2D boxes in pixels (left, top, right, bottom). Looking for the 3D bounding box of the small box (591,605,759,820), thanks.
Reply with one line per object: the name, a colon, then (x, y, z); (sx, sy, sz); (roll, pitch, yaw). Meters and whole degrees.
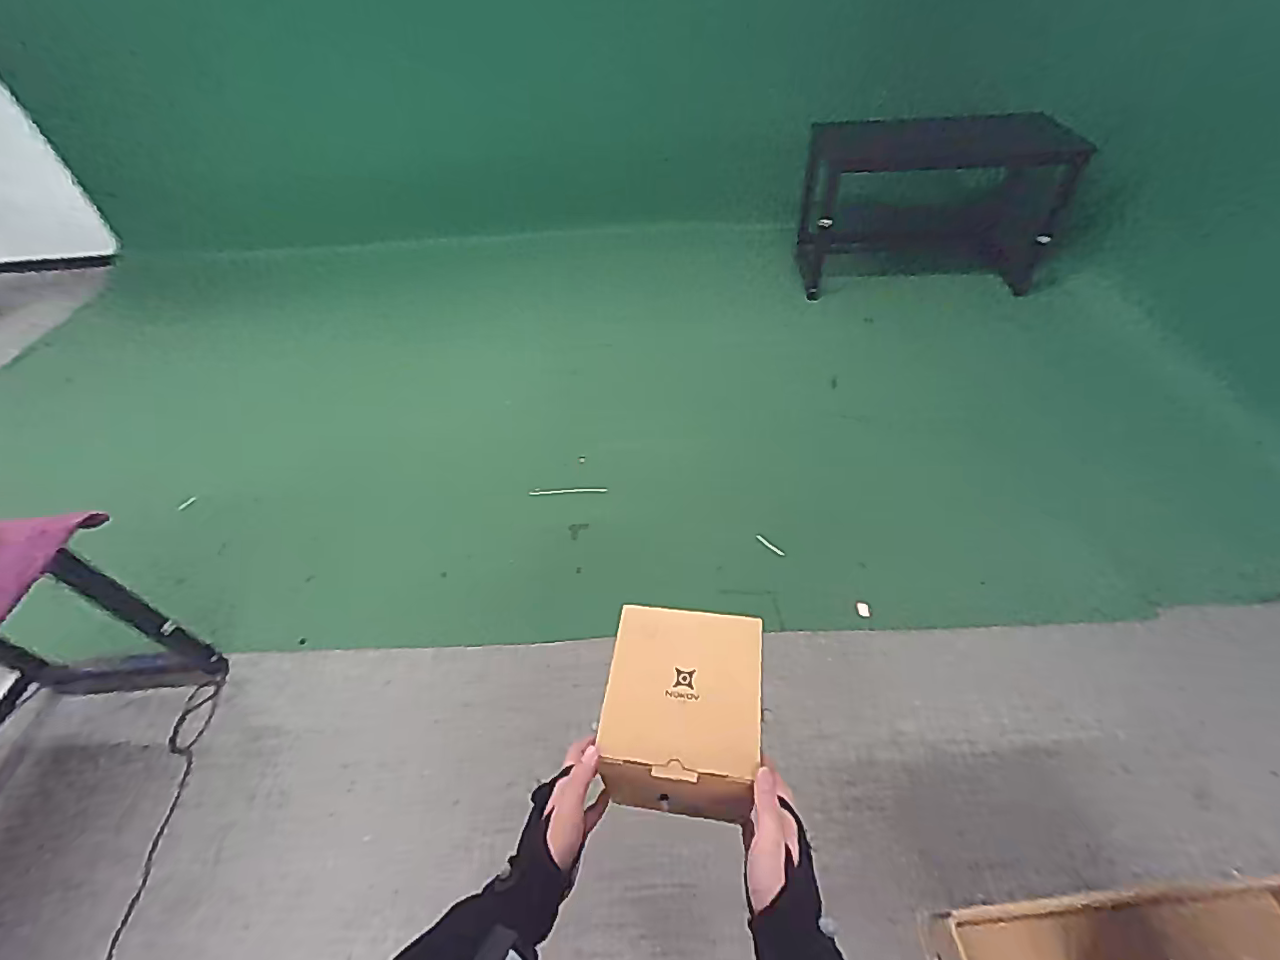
small box: (0.047, 0.272, 0.633); (0.168, 0.176, 0.179); (3, 48, 8)
